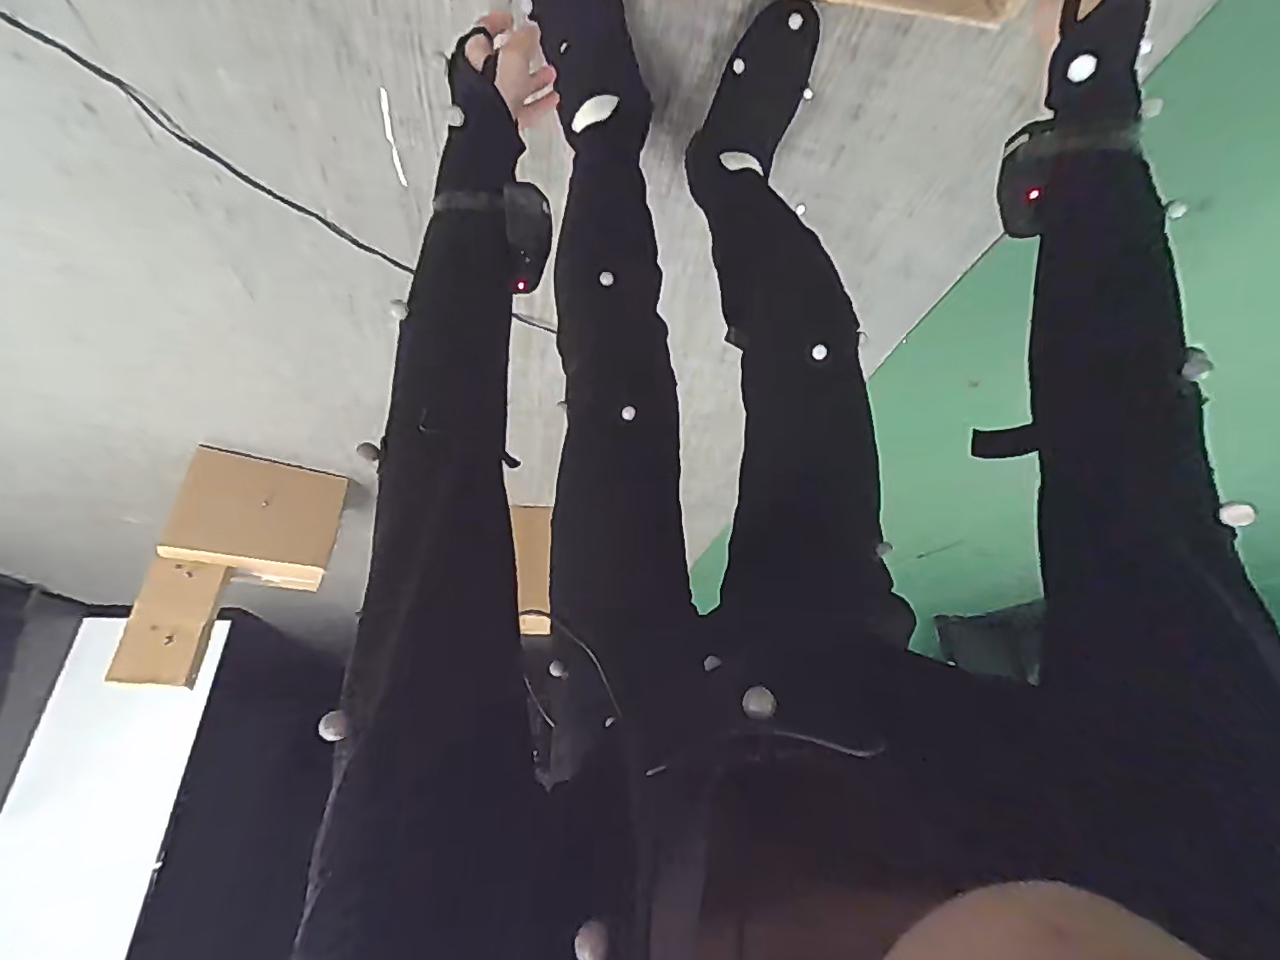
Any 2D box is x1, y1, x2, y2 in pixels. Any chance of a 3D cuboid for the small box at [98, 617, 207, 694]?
[{"bbox_3d":[-1.307,0.479,1.467,0.168,0.176,0.179,14,150,-27],"label":"small box"}]
